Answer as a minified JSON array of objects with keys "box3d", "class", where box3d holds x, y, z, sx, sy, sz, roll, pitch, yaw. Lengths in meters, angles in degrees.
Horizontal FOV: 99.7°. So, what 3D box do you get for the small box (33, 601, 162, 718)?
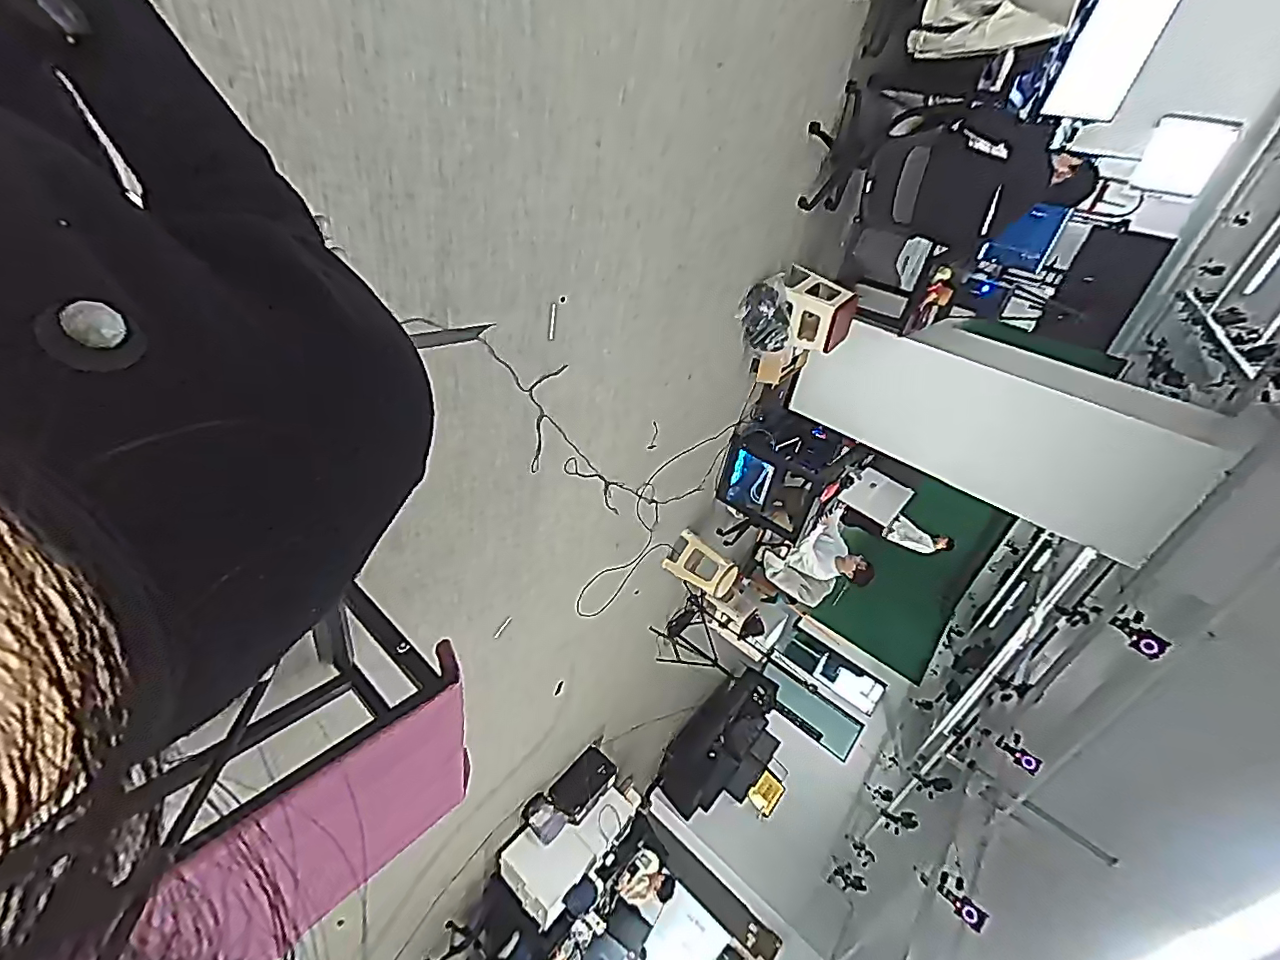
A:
[{"box3d":[-1.325,0.432,1.325,0.168,0.176,0.179,-28,139,-44],"class":"small box"}]
